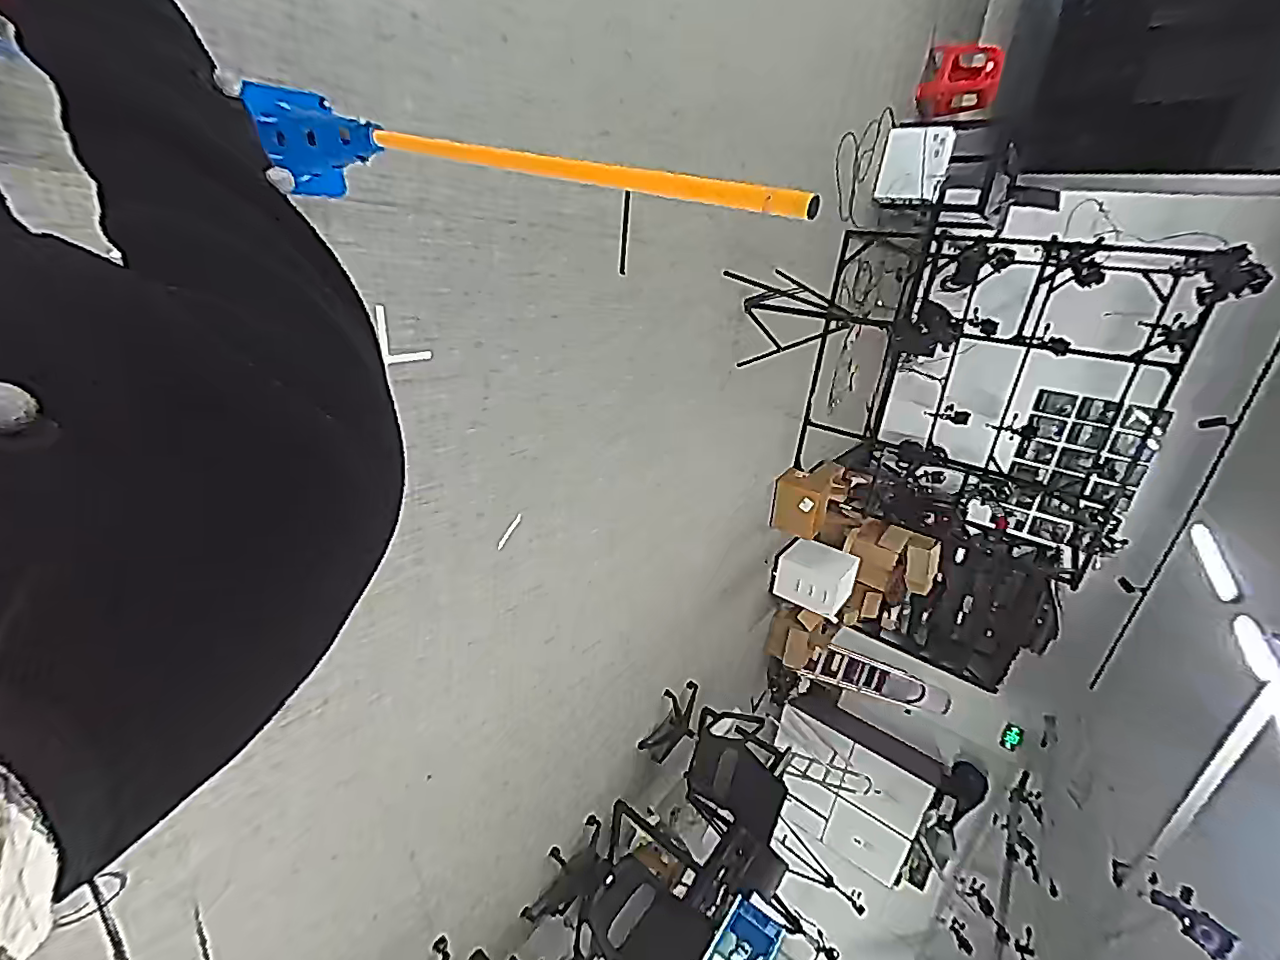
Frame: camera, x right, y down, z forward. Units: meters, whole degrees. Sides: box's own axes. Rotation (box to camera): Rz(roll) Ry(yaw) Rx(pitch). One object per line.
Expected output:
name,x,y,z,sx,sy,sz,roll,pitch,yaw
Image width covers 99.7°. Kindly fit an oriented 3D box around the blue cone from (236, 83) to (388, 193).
blue cone,-0.616,-0.684,1.080,0.193,0.380,0.192,-27,128,-47
